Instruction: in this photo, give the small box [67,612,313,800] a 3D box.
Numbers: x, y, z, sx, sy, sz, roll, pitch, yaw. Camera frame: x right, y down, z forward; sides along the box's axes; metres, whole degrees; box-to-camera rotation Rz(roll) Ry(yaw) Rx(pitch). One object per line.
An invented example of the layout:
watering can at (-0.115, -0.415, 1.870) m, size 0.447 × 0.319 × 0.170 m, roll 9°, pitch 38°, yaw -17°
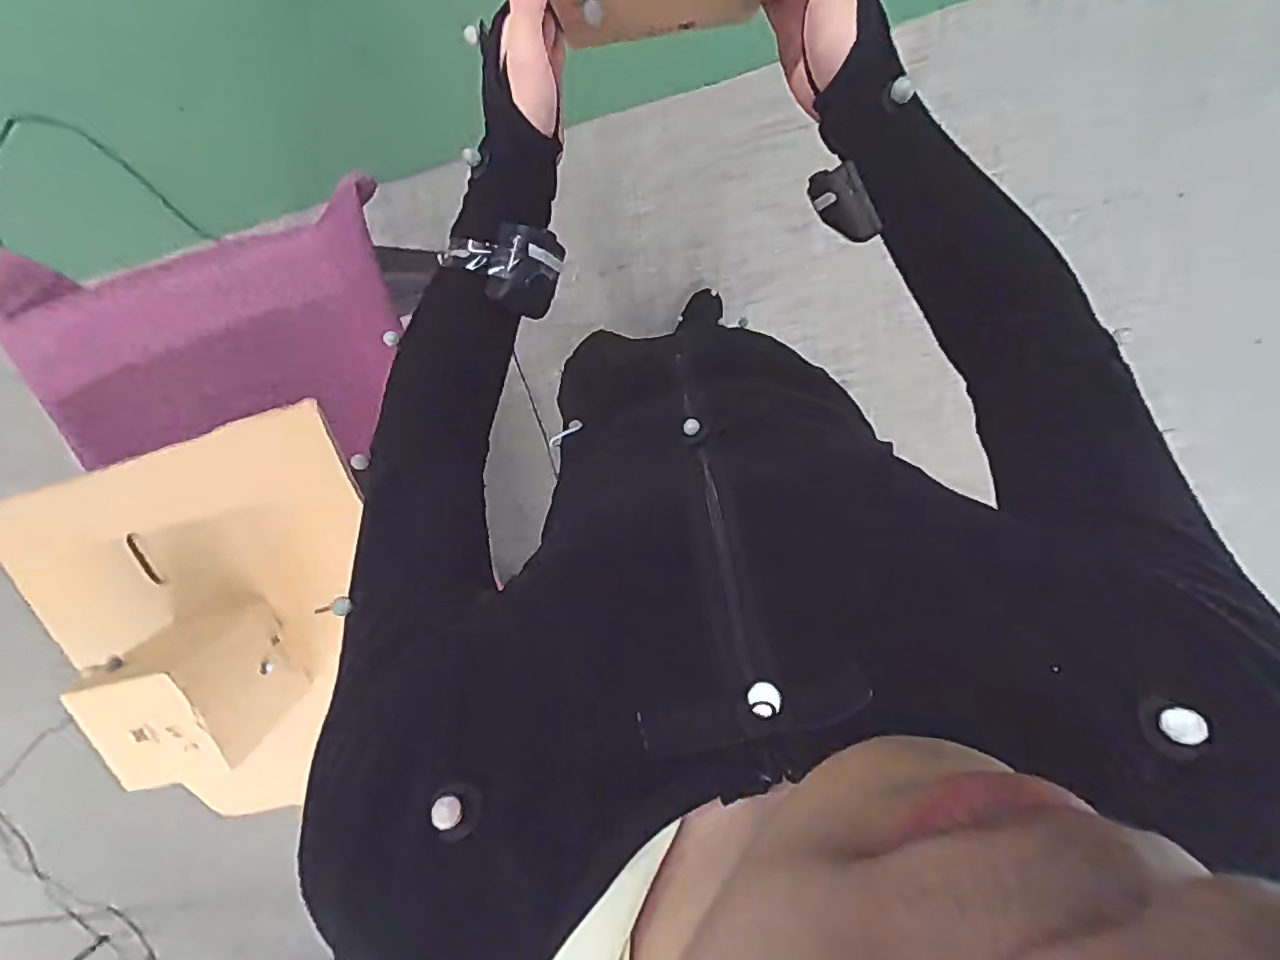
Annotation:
small box at (-0.622, 0.313, 0.773) m, size 0.179 × 0.176 × 0.168 m, roll -14°, pitch 107°, yaw 8°
